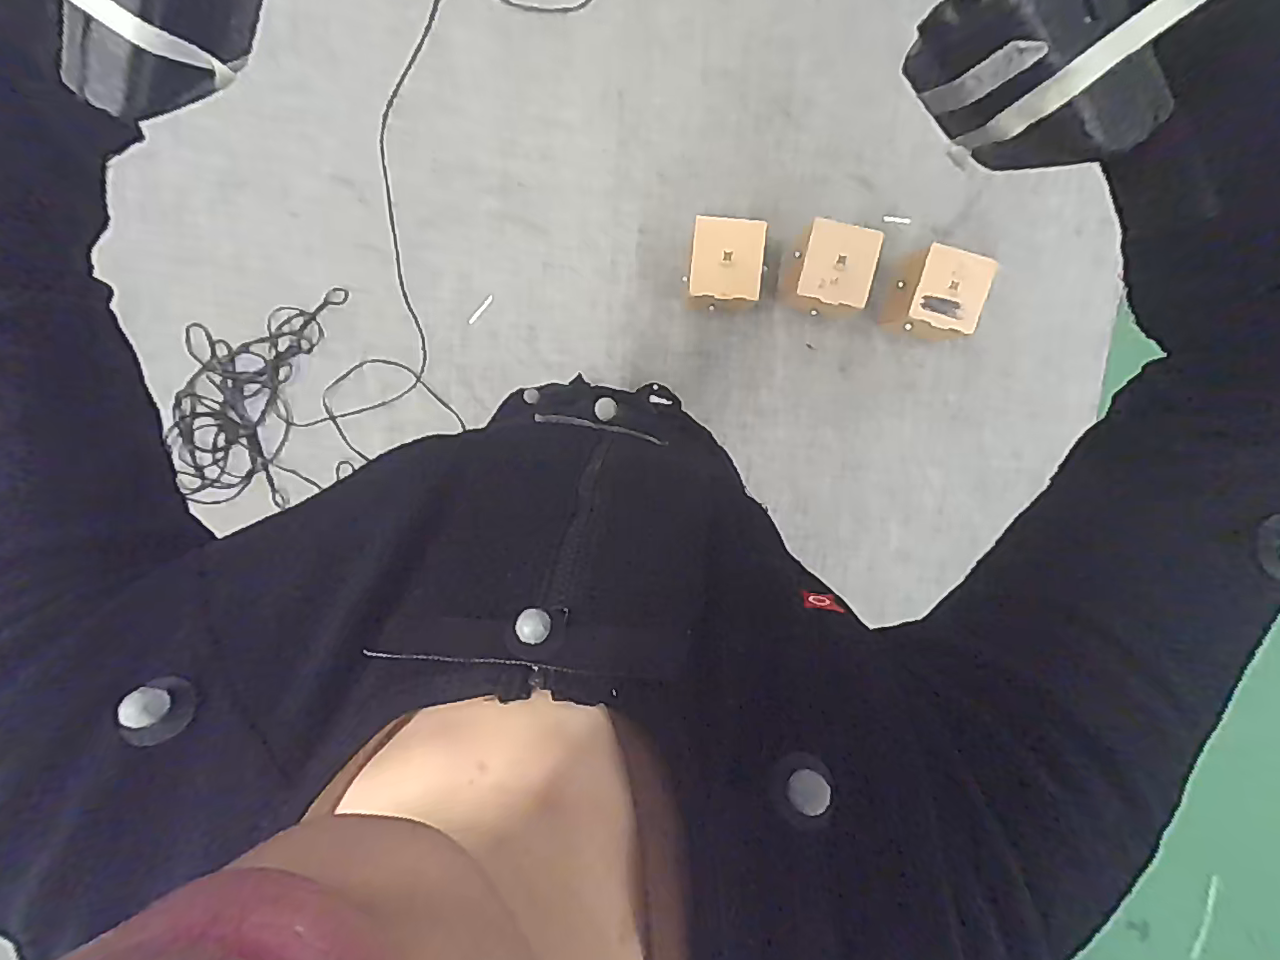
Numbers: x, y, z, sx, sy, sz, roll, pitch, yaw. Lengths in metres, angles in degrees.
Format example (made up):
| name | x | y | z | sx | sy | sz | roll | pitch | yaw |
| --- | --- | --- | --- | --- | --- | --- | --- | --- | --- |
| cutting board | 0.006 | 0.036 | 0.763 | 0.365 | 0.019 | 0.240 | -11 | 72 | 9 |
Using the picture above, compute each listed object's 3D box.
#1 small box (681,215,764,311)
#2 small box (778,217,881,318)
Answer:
| name | x | y | z | sx | sy | sz | roll | pitch | yaw |
| --- | --- | --- | --- | --- | --- | --- | --- | --- | --- |
| small box | 0.193 | -0.518 | 1.312 | 0.168 | 0.176 | 0.179 | 4 | 100 | -1 |
| small box | 0.450 | -0.507 | 1.314 | 0.168 | 0.176 | 0.179 | 12 | 100 | -2 |
